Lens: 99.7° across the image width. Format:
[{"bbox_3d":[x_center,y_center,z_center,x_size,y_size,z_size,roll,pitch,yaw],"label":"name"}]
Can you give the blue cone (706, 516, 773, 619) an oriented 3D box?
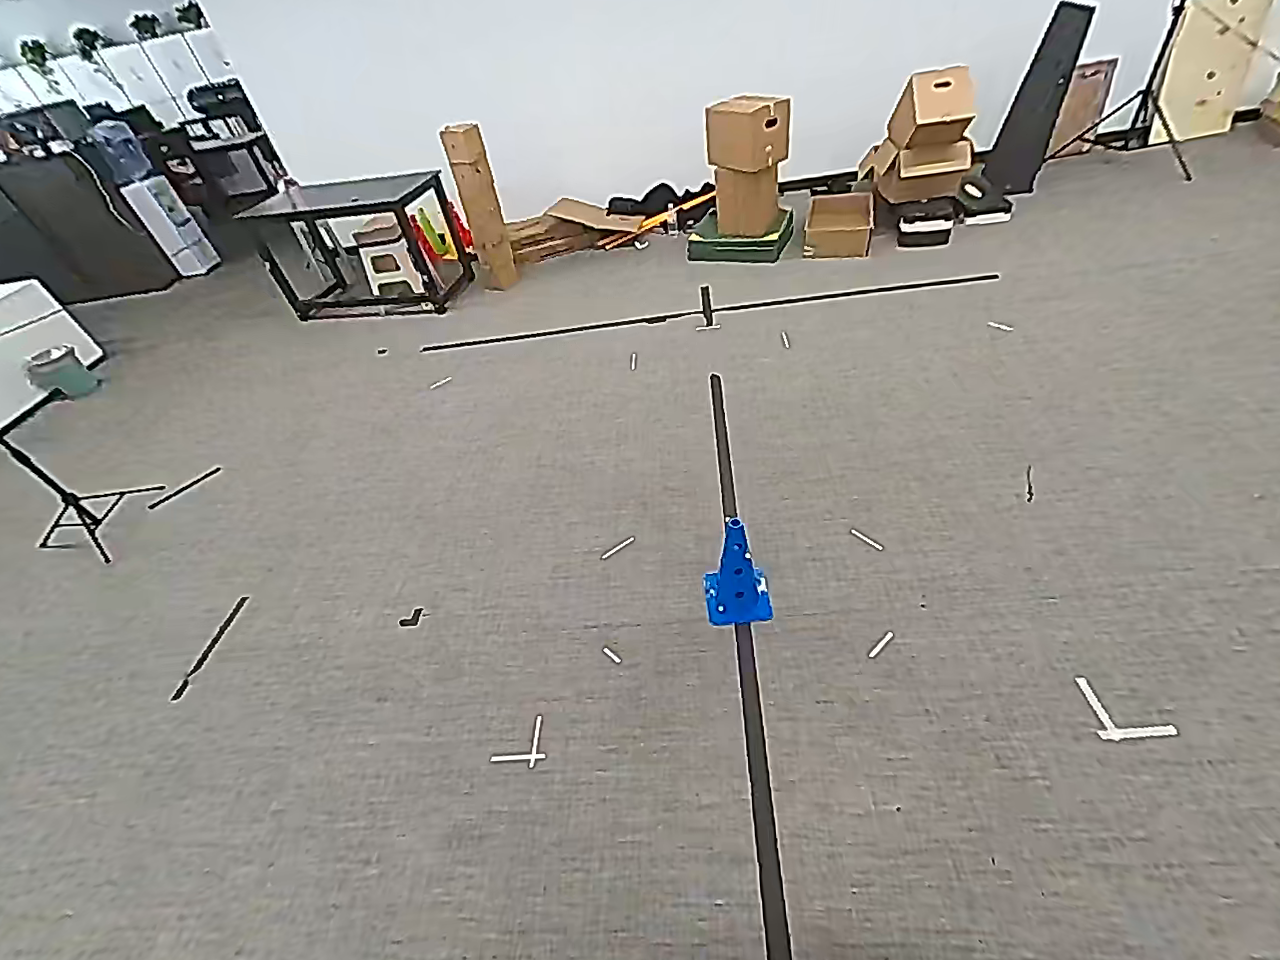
[{"bbox_3d":[0.295,0.238,1.615,0.192,0.380,0.193,-8,44,3],"label":"blue cone"}]
